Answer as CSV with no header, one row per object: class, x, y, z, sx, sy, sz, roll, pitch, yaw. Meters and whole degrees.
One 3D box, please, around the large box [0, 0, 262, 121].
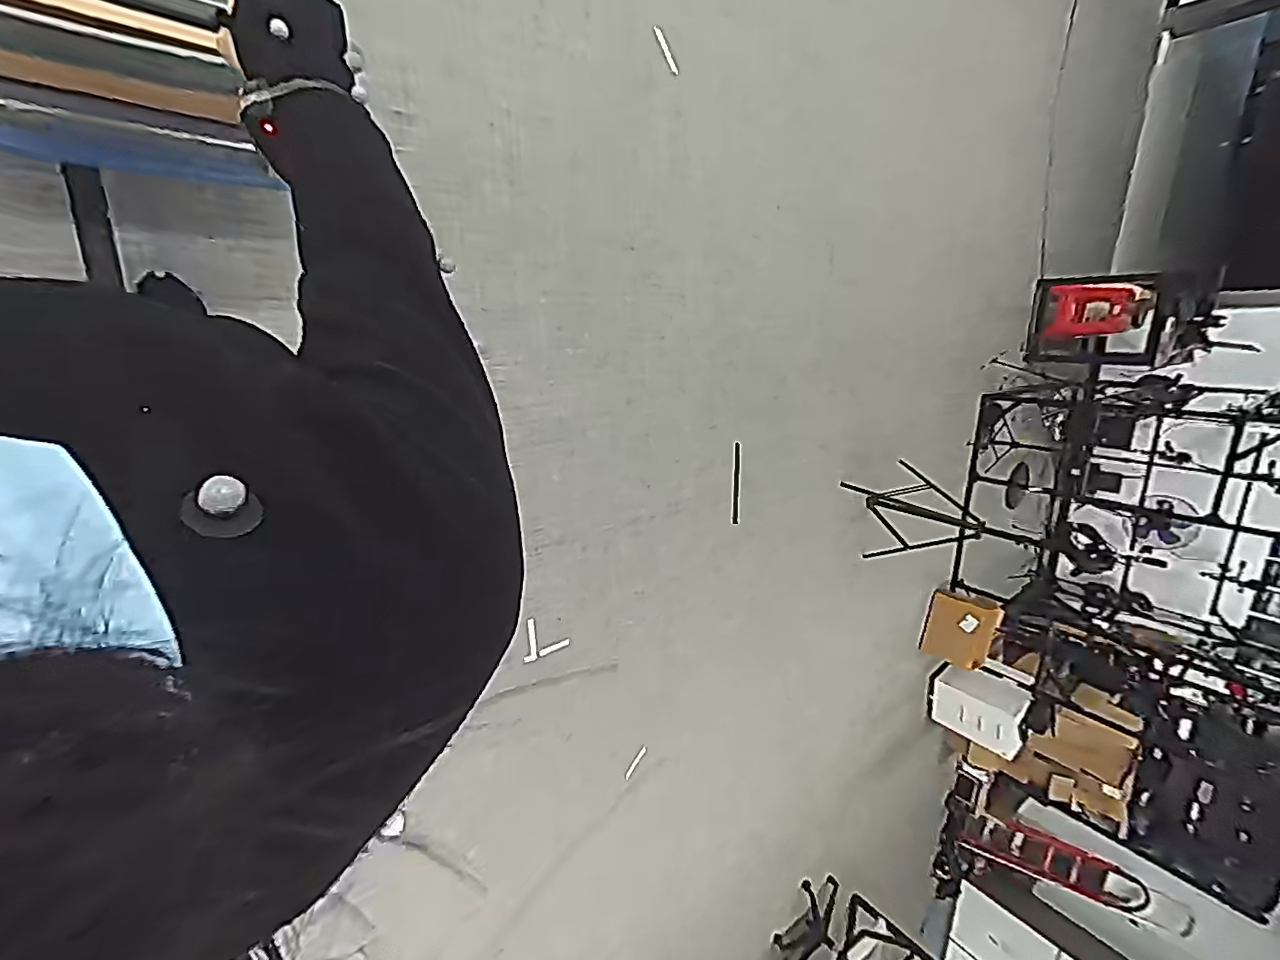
large box,-0.776,-0.729,0.706,0.408,0.320,0.320,-11,110,-39
